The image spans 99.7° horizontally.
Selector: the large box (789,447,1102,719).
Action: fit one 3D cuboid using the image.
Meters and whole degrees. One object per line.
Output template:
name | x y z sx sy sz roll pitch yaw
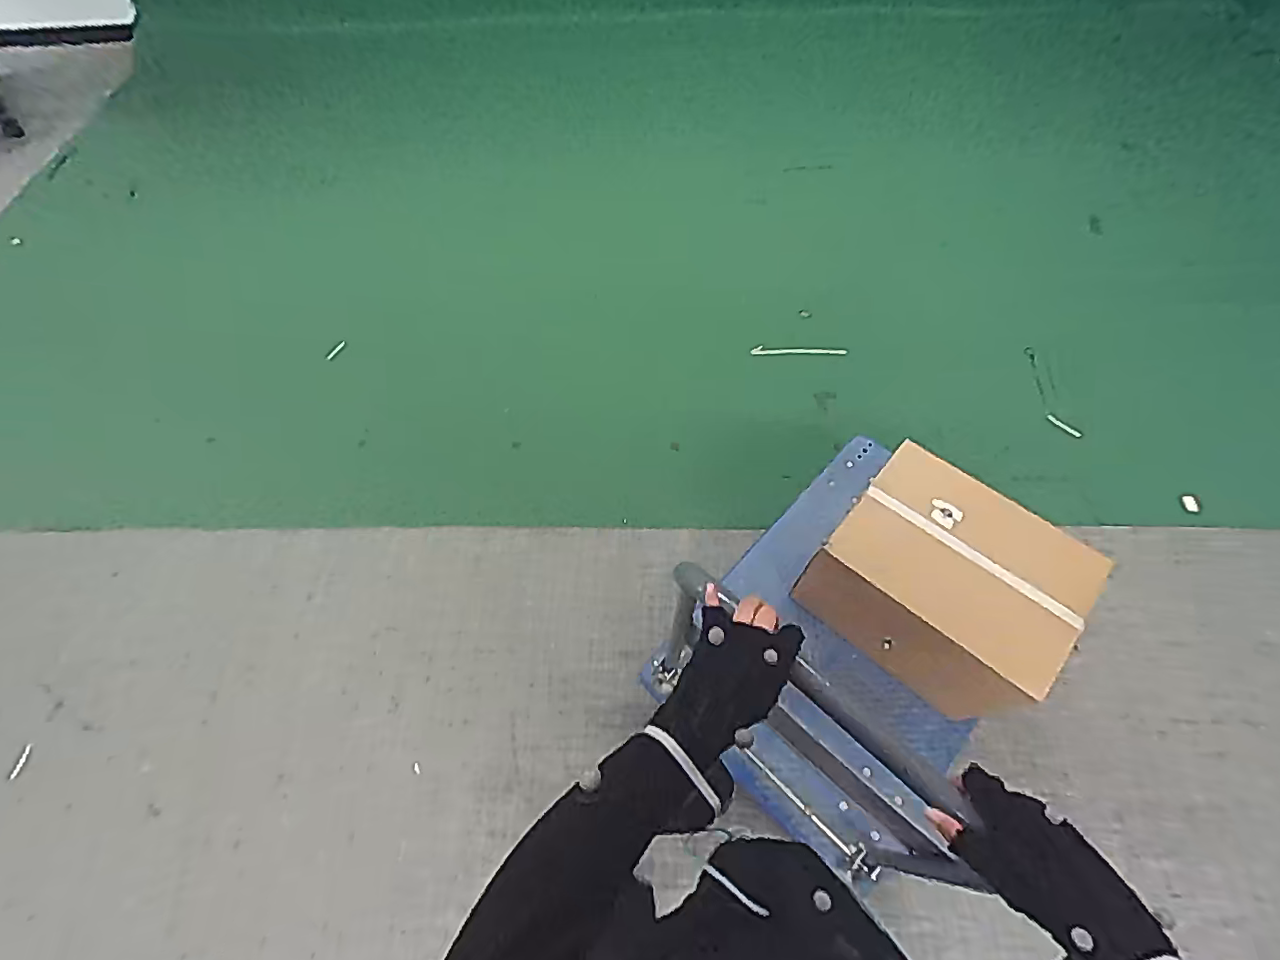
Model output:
large box | 0.579 0.214 1.101 0.408 0.320 0.320 37 68 22
